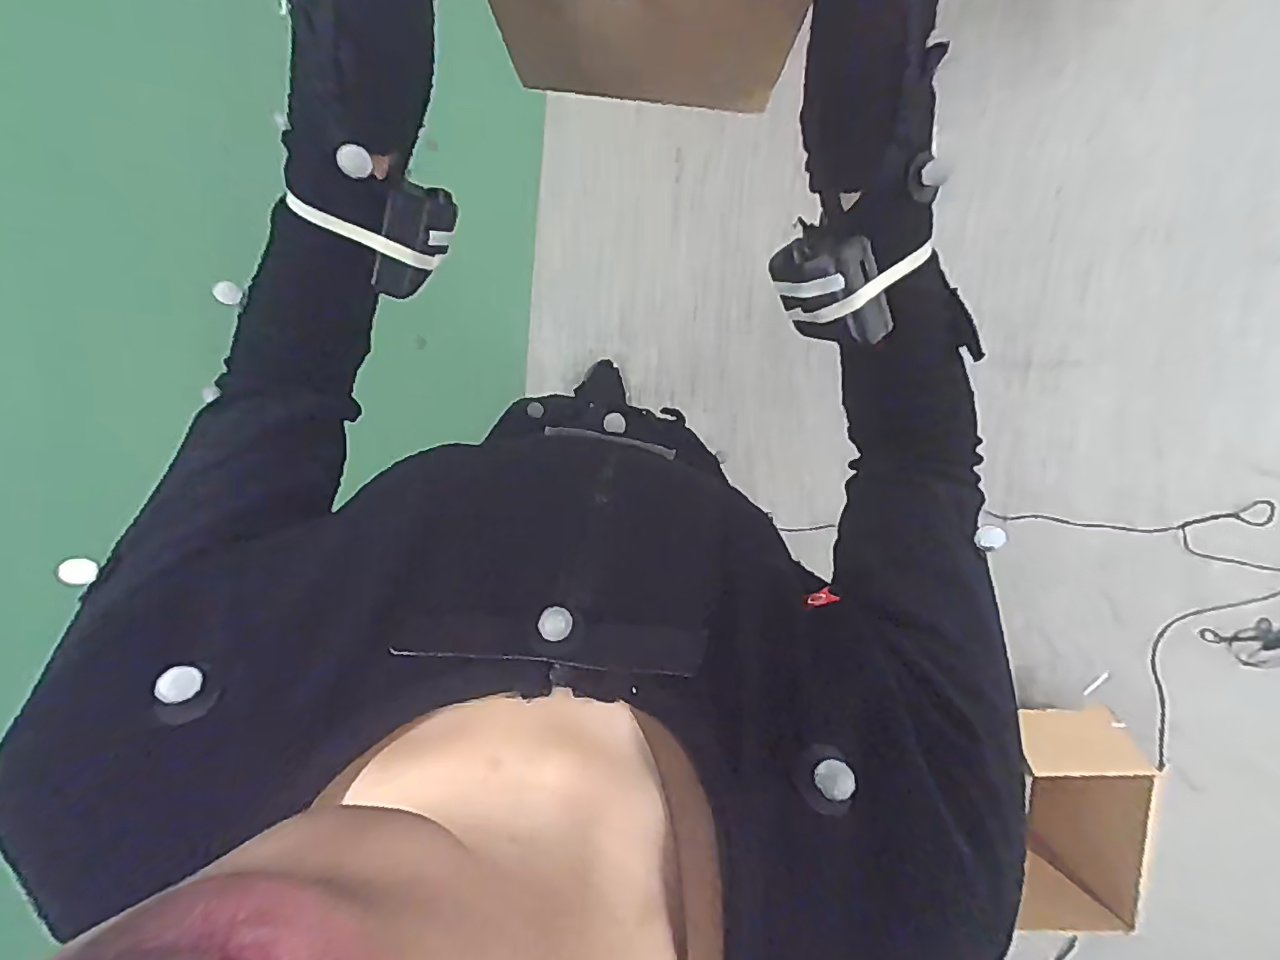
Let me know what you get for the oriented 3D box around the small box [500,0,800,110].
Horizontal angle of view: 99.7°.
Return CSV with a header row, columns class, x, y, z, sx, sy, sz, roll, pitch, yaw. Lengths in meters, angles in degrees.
class,x,y,z,sx,sy,sz,roll,pitch,yaw
small box,0.010,-0.337,0.296,0.179,0.176,0.168,6,99,-1
